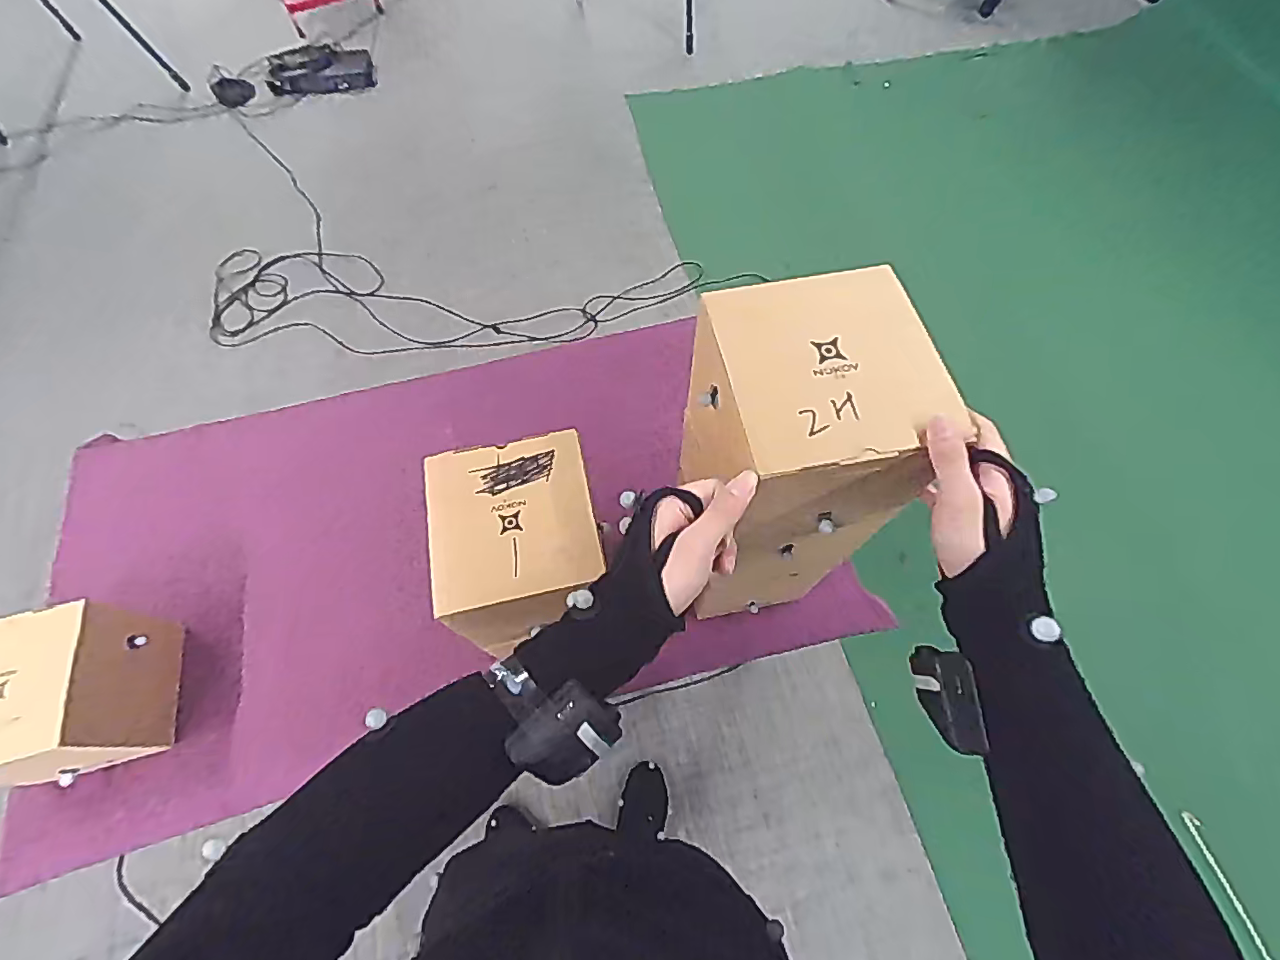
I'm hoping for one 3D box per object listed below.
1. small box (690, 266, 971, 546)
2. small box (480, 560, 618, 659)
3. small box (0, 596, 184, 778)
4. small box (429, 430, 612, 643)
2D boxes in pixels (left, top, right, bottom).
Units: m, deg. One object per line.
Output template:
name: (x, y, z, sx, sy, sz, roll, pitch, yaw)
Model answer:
small box: (0.145, -0.058, 0.489, 0.168, 0.176, 0.179, -9, 65, -3)
small box: (-0.128, 0.144, 0.761, 0.168, 0.176, 0.179, -12, 64, -5)
small box: (-0.739, 0.271, 0.698, 0.168, 0.176, 0.179, -14, 65, -6)
small box: (-0.128, 0.070, 0.615, 0.168, 0.176, 0.179, -11, 65, -5)
